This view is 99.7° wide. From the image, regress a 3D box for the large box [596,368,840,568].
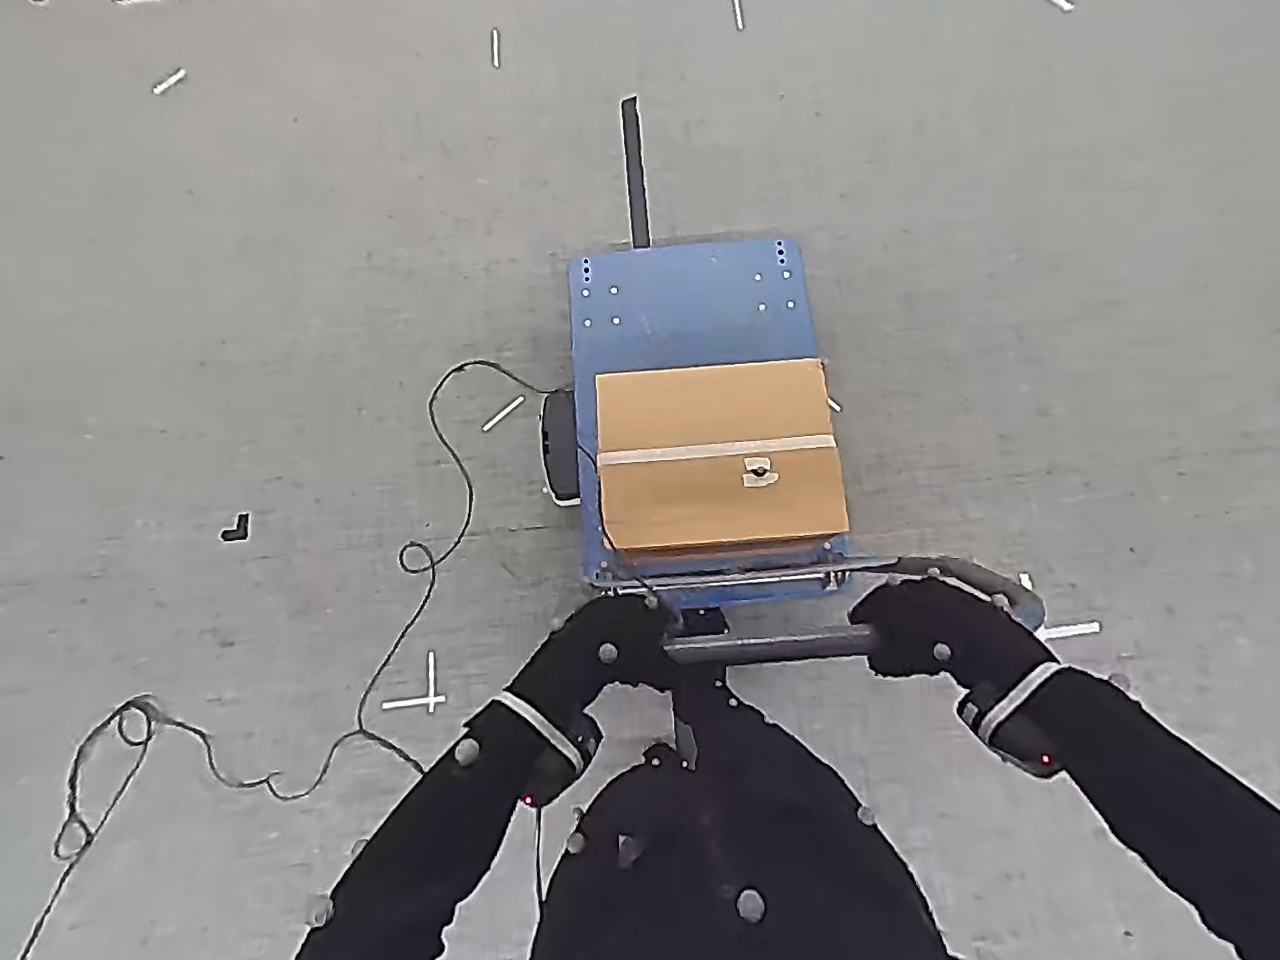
[{"bbox_3d":[0.131,-0.004,1.090,0.408,0.320,0.320,-4,77,0],"label":"large box"}]
